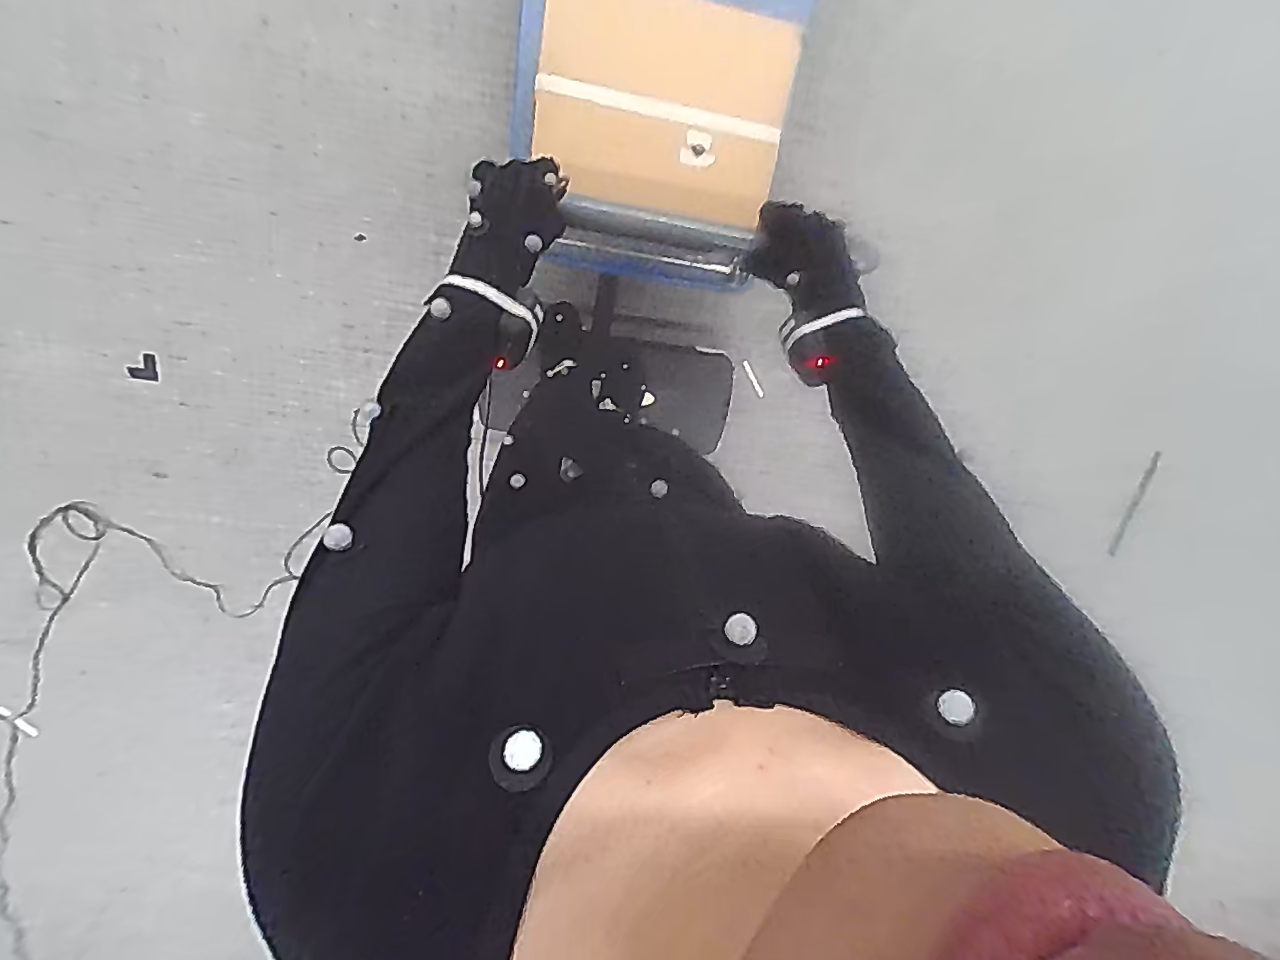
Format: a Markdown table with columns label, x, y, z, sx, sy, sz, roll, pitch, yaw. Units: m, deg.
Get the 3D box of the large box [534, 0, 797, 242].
| label | x | y | z | sx | sy | sz | roll | pitch | yaw |
| --- | --- | --- | --- | --- | --- | --- | --- | --- | --- |
| large box | 0.019 | -0.663 | 1.029 | 0.408 | 0.320 | 0.320 | 7 | 109 | -10 |
